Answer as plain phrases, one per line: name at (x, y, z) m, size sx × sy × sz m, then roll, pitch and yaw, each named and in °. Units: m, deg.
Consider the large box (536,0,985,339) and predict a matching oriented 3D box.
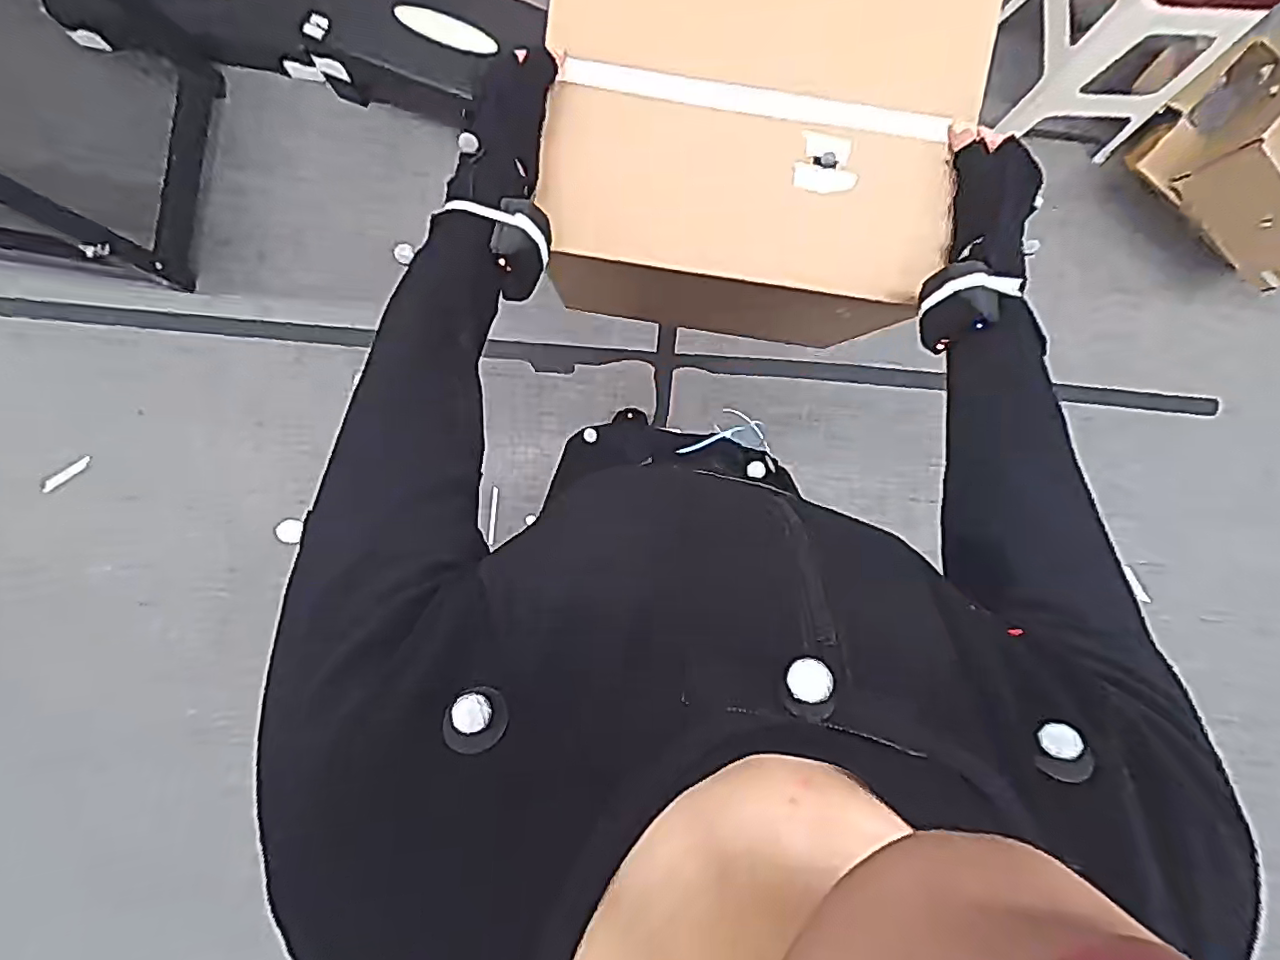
large box at (0.107, -0.372, 0.660) m, size 0.408 × 0.320 × 0.320 m, roll 8°, pitch 97°, yaw -3°
